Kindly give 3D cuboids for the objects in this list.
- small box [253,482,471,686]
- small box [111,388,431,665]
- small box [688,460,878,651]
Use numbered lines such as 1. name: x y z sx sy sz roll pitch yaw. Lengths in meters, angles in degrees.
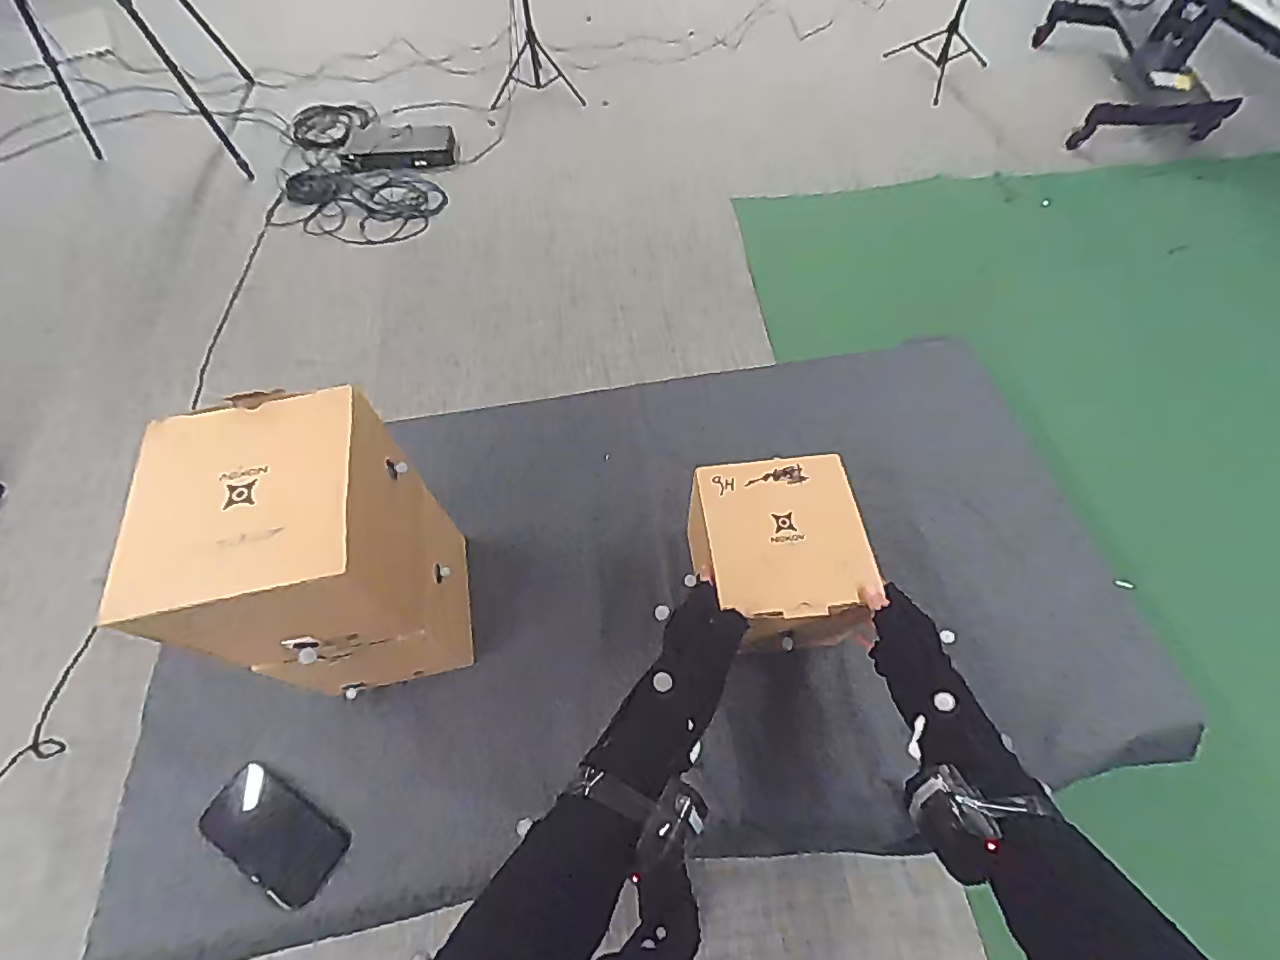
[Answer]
1. small box: -0.302 0.128 0.625 0.168 0.176 0.179 -11 60 -6
2. small box: -0.299 0.048 0.485 0.168 0.176 0.179 -12 62 -6
3. small box: 0.151 0.098 0.641 0.168 0.176 0.179 -6 61 -2
